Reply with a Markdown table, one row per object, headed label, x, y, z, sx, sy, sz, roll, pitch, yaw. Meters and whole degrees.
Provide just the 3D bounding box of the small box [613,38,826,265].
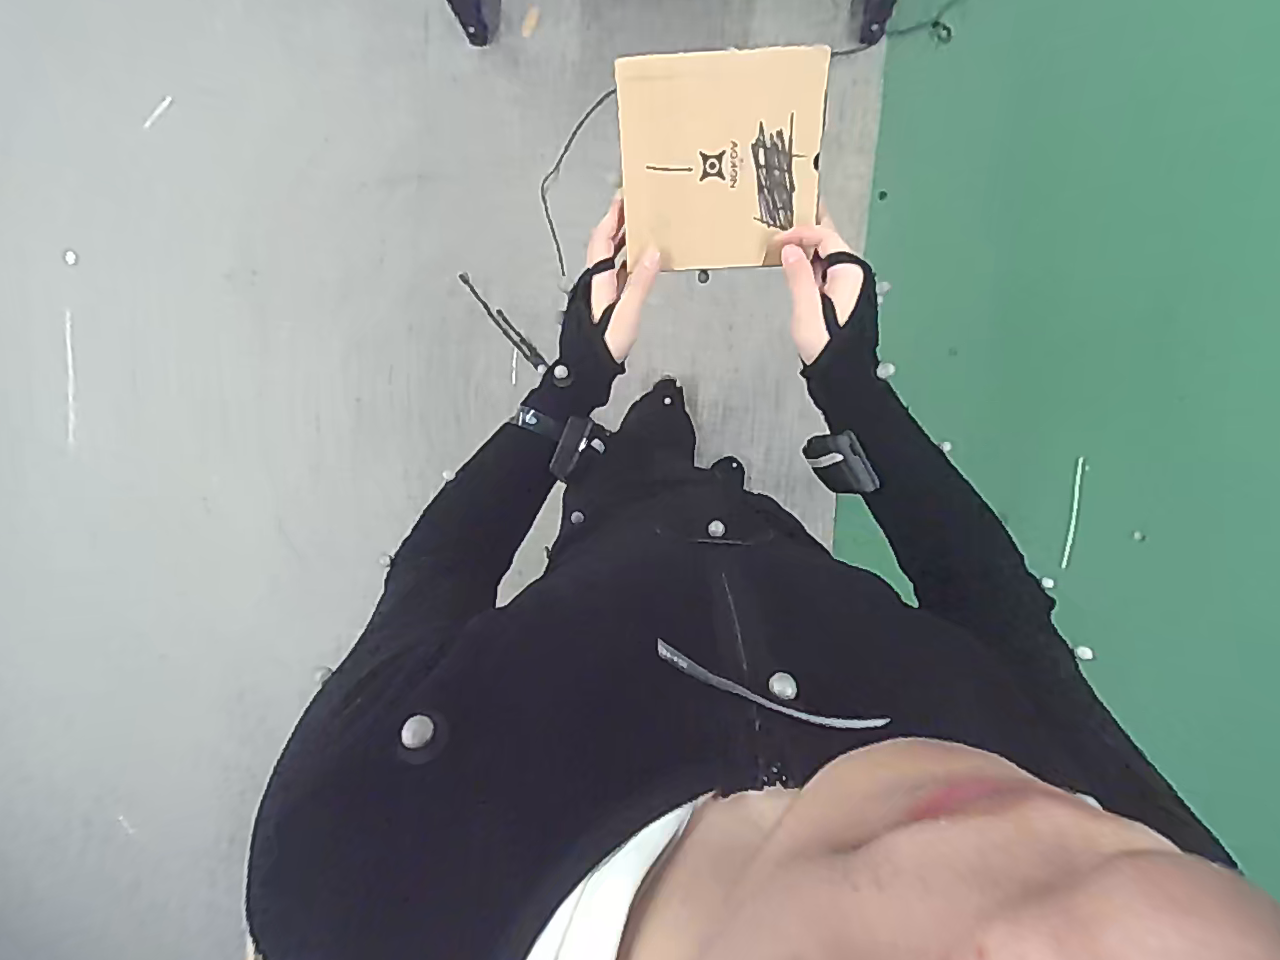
| label | x | y | z | sx | sy | sz | roll | pitch | yaw |
| --- | --- | --- | --- | --- | --- | --- | --- | --- | --- |
| small box | 0.068 | -0.310 | 0.540 | 0.179 | 0.176 | 0.168 | -2 | 113 | 3 |
